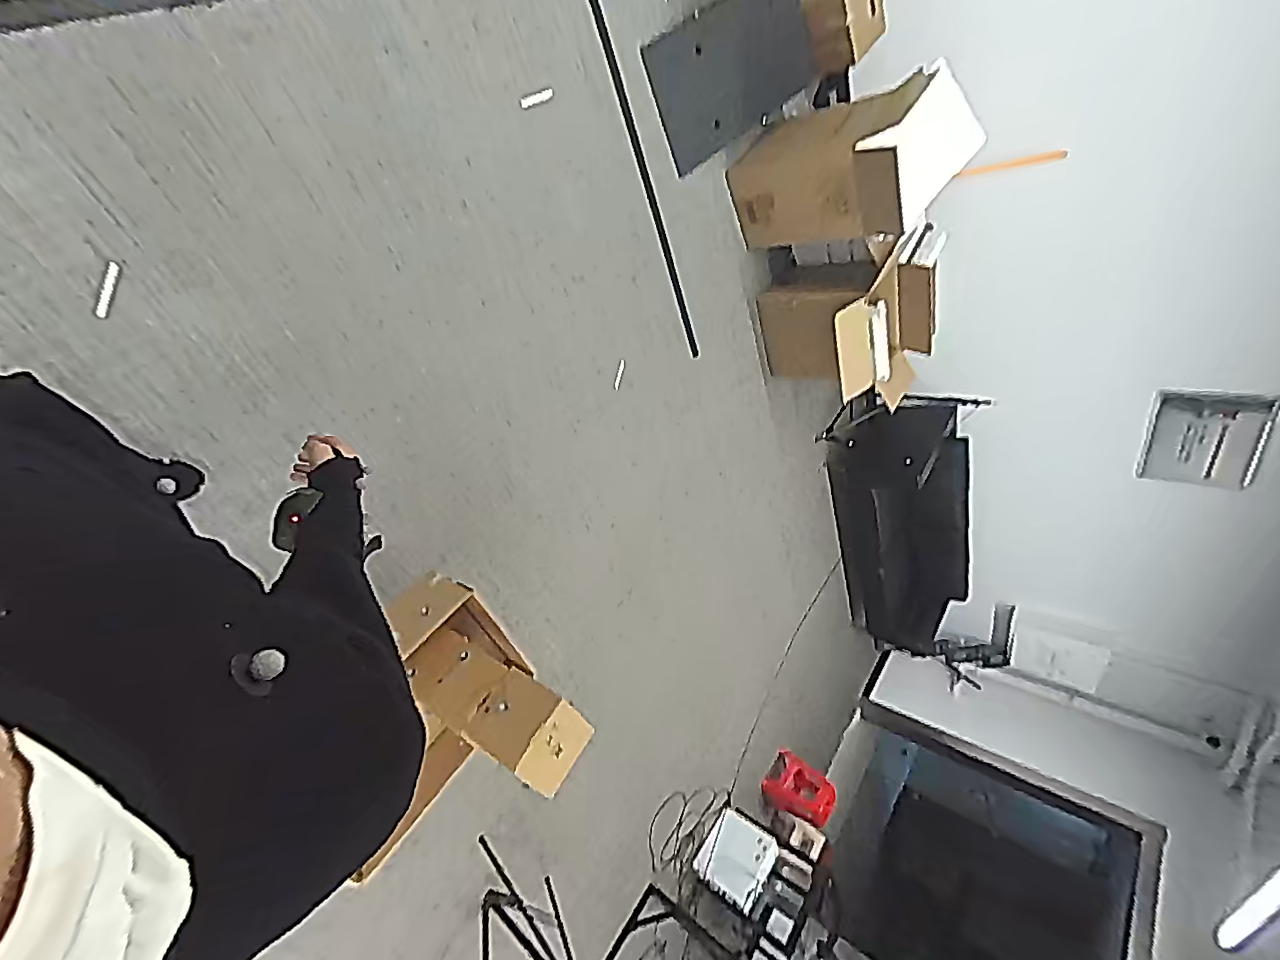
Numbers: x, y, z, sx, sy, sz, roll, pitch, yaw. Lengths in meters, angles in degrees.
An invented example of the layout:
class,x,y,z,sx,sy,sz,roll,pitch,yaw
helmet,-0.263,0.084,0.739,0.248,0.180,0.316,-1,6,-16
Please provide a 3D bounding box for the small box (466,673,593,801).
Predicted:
class,x,y,z,sx,sy,sz,roll,pitch,yaw
small box,-0.240,0.553,1.180,0.168,0.176,0.179,-52,136,-28

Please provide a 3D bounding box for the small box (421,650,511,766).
class,x,y,z,sx,sy,sz,roll,pitch,yaw
small box,-0.376,0.527,1.272,0.168,0.176,0.179,-51,136,-29

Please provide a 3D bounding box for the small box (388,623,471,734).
class,x,y,z,sx,sy,sz,roll,pitch,yaw
small box,-0.504,0.496,1.368,0.179,0.176,0.168,-53,136,-27
